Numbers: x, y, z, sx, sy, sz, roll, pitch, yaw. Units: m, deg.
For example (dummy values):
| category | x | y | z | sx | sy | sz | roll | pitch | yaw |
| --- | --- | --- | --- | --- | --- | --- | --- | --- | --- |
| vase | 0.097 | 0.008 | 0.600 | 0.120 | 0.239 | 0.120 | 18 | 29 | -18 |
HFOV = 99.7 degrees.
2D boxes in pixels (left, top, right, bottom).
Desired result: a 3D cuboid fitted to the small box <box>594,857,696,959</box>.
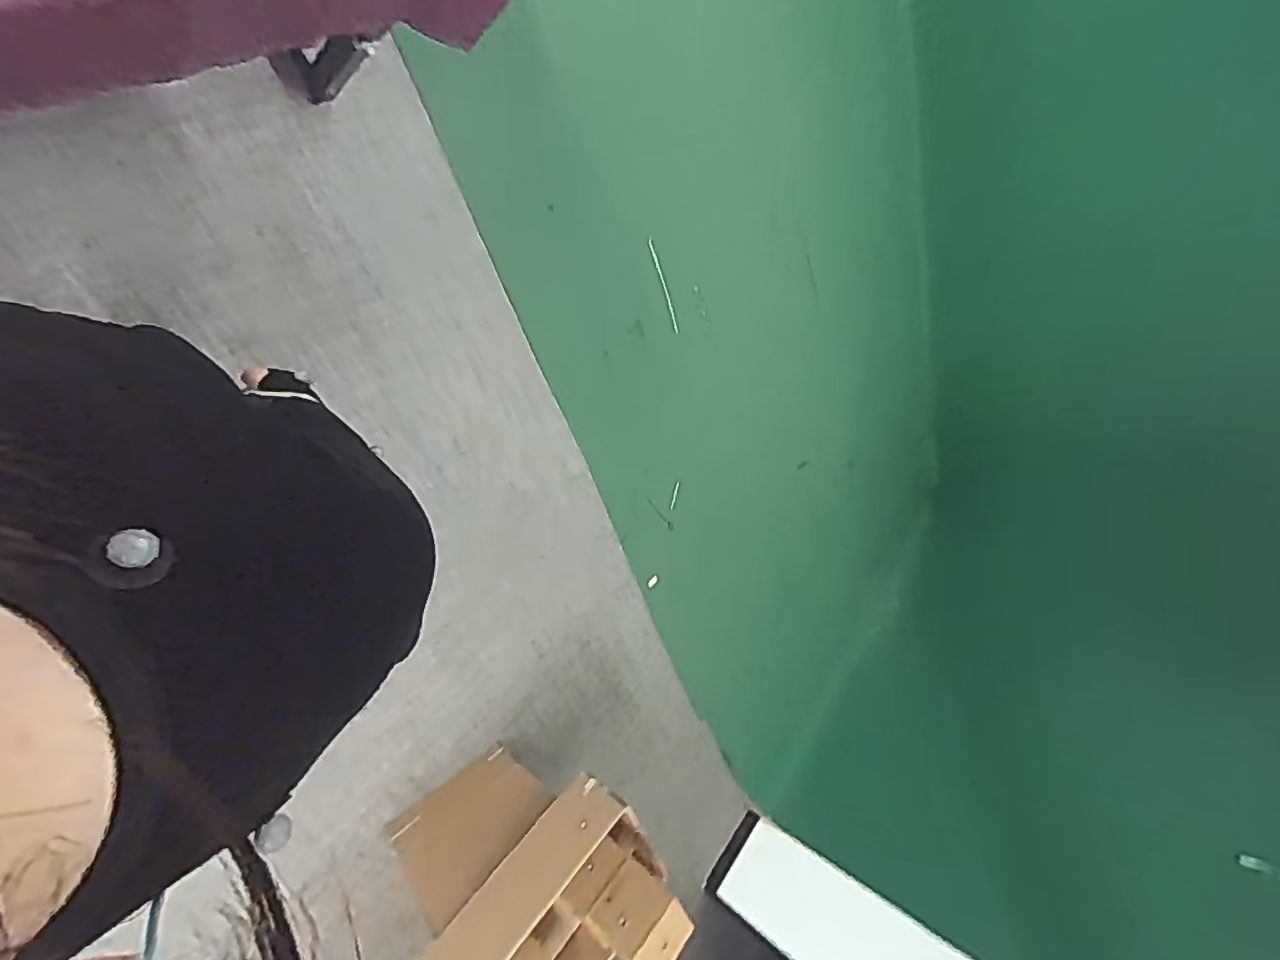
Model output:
| category | x | y | z | sx | sy | sz | roll | pitch | yaw |
| --- | --- | --- | --- | --- | --- | --- | --- | --- | --- |
| small box | 0.010 | 1.106 | 1.367 | 0.168 | 0.176 | 0.179 | -38 | 123 | -31 |
